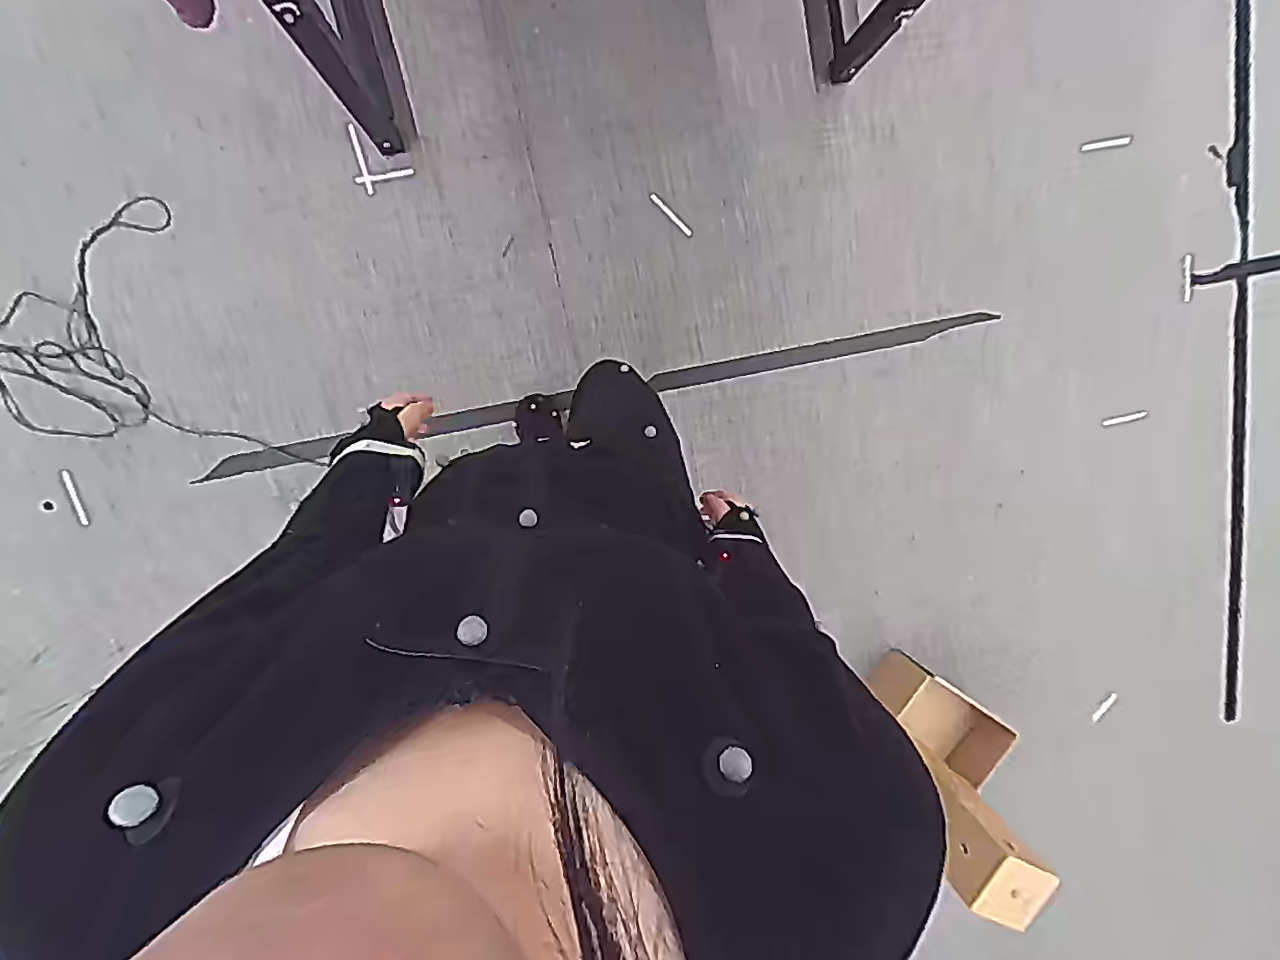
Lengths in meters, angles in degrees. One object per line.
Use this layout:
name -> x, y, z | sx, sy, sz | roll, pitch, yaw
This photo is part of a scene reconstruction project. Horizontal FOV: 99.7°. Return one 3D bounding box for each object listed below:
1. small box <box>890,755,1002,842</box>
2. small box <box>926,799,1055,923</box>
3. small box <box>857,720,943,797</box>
small box -> 0.848, 0.911, 1.519 | 0.179, 0.176, 0.168 | 29, 97, -14
small box -> 0.868, 0.946, 1.358 | 0.179, 0.176, 0.168 | 29, 97, -12
small box -> 0.820, 0.885, 1.676 | 0.179, 0.176, 0.168 | 33, 94, -12
